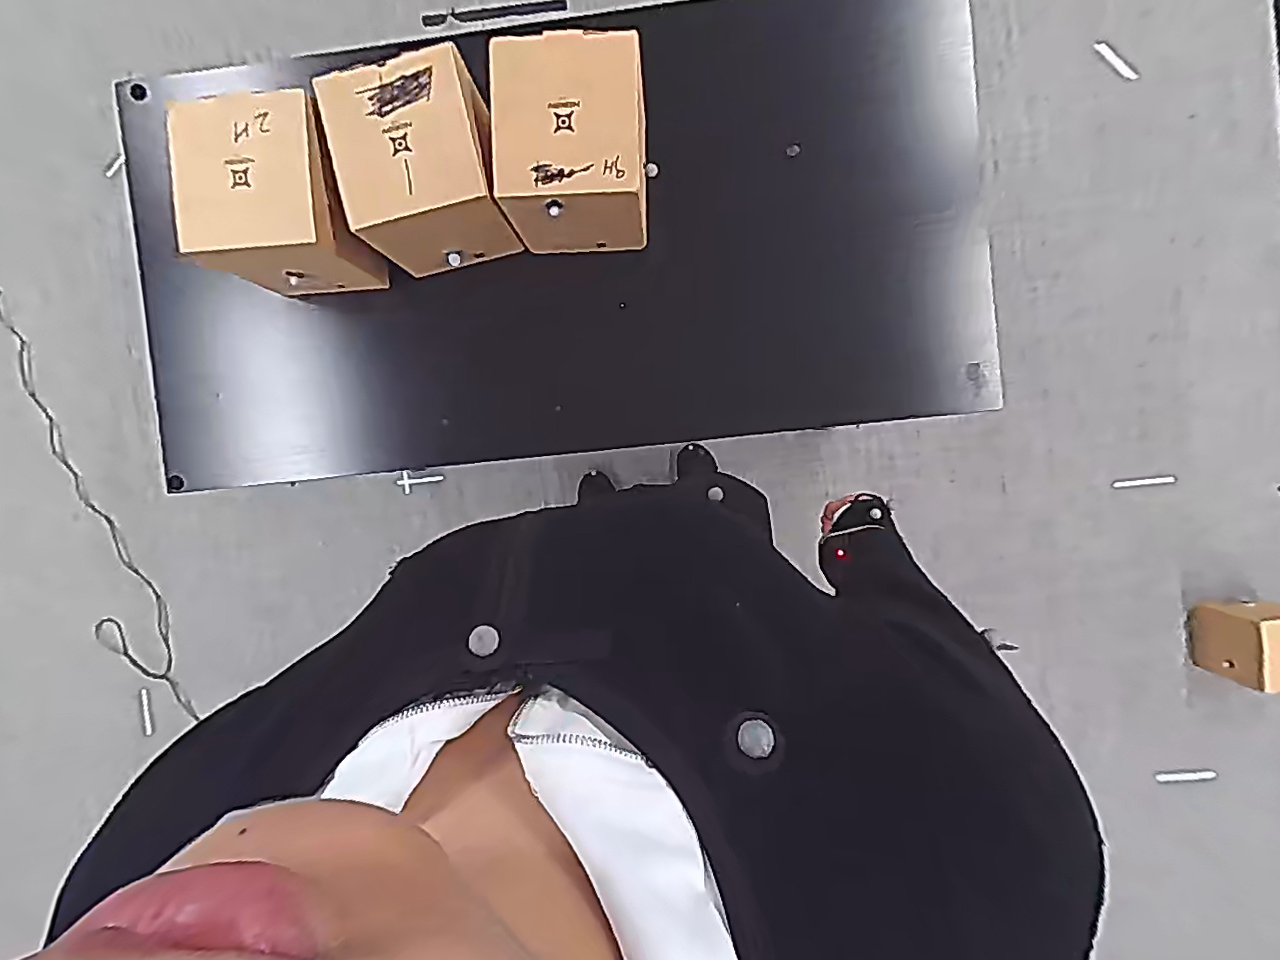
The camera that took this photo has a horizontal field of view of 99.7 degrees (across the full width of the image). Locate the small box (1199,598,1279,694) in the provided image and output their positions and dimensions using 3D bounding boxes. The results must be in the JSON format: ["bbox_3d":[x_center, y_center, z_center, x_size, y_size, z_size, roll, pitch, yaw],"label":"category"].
[{"bbox_3d":[1.545,0.403,1.331,0.168,0.176,0.179,-7,91,3],"label":"small box"}]

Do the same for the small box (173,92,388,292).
[{"bbox_3d":[-0.448,-0.354,0.701,0.168,0.176,0.179,-3,91,3],"label":"small box"}]
